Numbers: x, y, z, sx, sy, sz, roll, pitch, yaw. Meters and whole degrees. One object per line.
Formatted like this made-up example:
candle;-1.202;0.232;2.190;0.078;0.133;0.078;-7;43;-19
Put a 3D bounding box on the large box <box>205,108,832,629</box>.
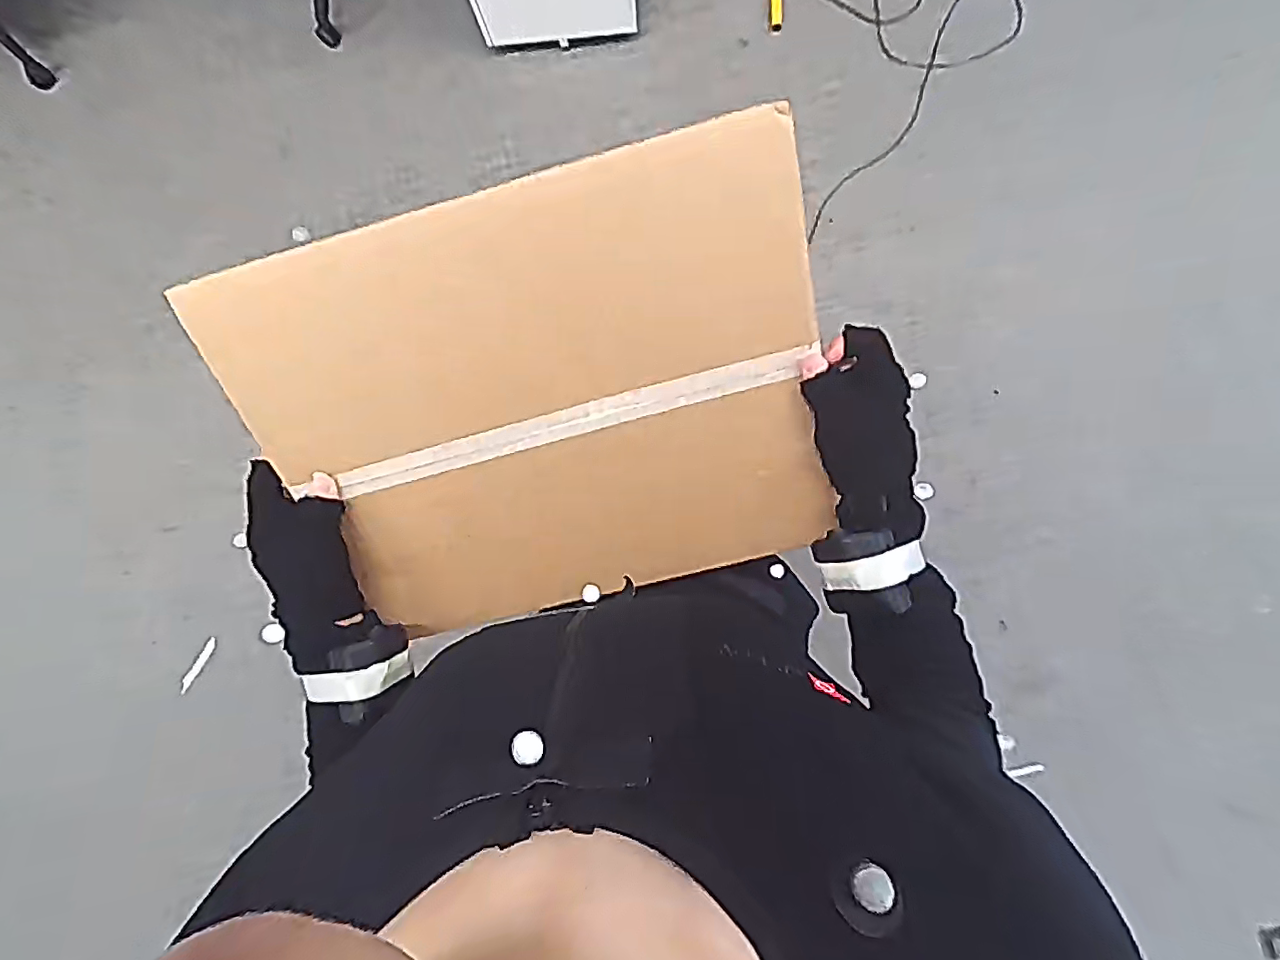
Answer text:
large box;-0.073;-0.109;0.543;0.408;0.320;0.320;-14;117;5
